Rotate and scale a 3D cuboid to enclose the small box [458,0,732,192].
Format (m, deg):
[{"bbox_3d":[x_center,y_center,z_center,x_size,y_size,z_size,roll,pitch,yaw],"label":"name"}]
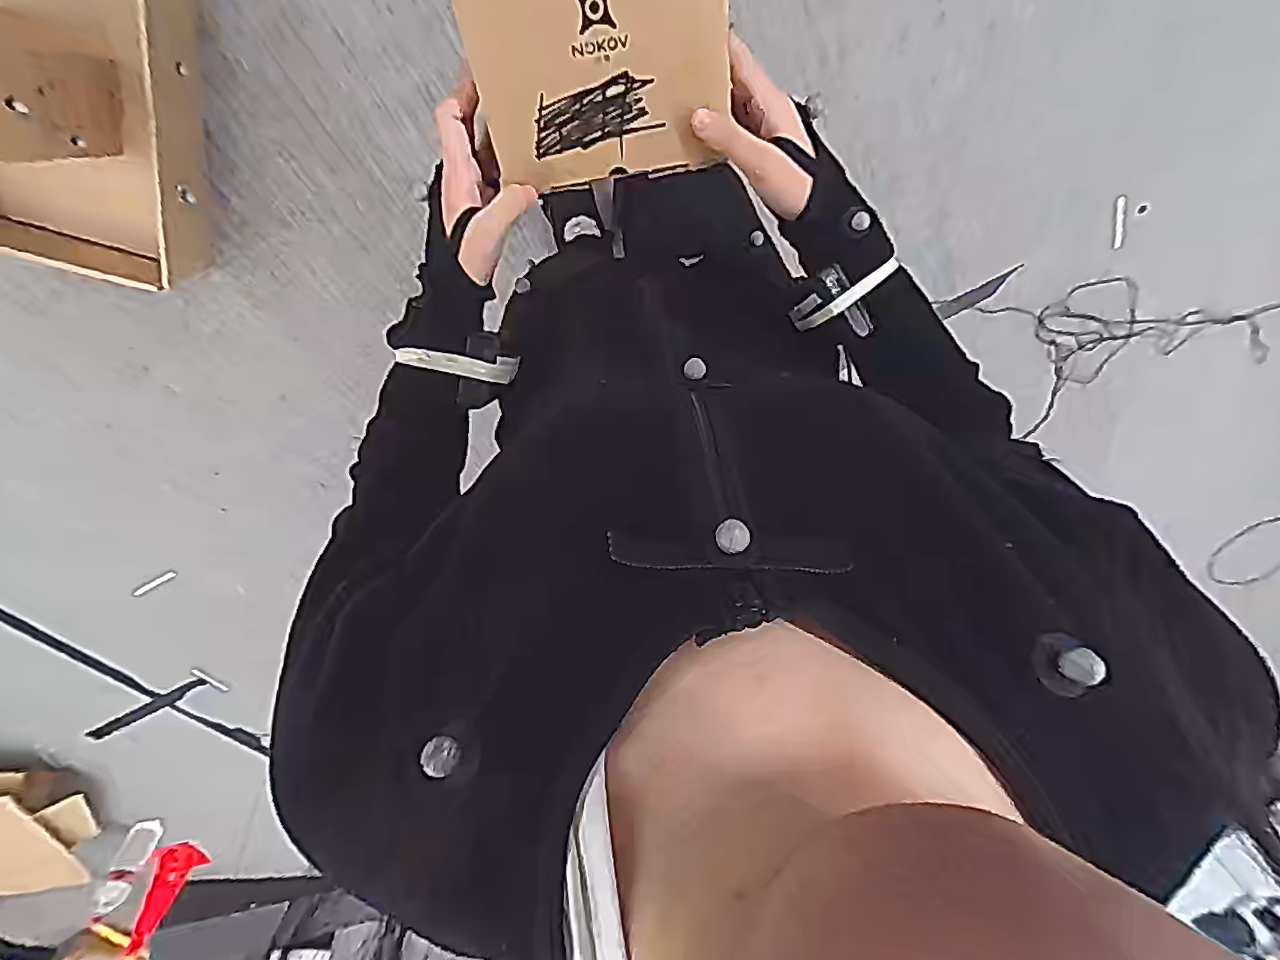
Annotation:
[{"bbox_3d":[-0.030,-0.337,0.388,0.168,0.176,0.179,-8,134,3],"label":"small box"}]
